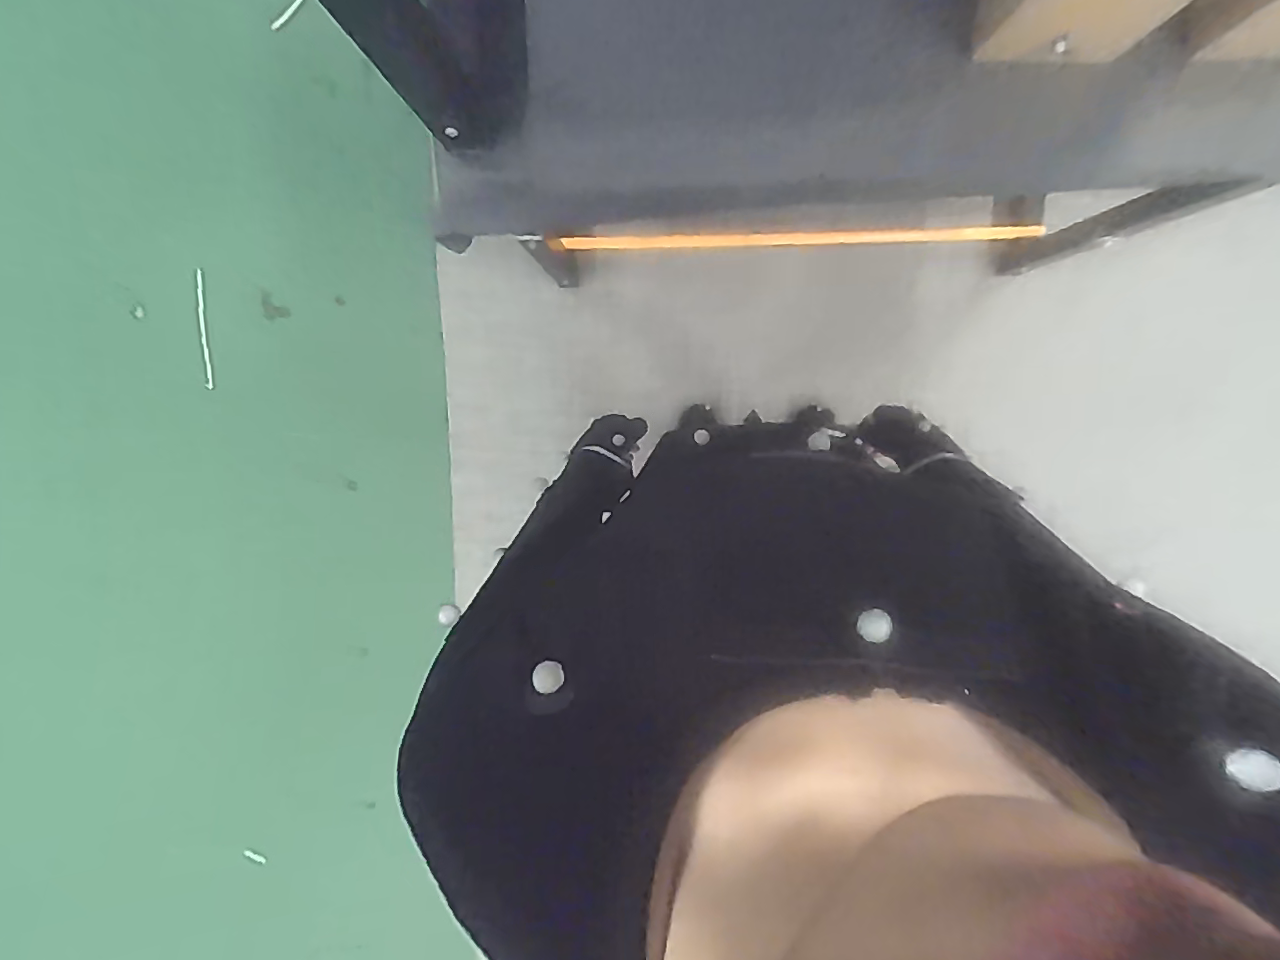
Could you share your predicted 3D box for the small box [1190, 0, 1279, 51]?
[{"bbox_3d":[0.723,-0.574,0.547,0.168,0.176,0.179,-1,97,2],"label":"small box"}]
